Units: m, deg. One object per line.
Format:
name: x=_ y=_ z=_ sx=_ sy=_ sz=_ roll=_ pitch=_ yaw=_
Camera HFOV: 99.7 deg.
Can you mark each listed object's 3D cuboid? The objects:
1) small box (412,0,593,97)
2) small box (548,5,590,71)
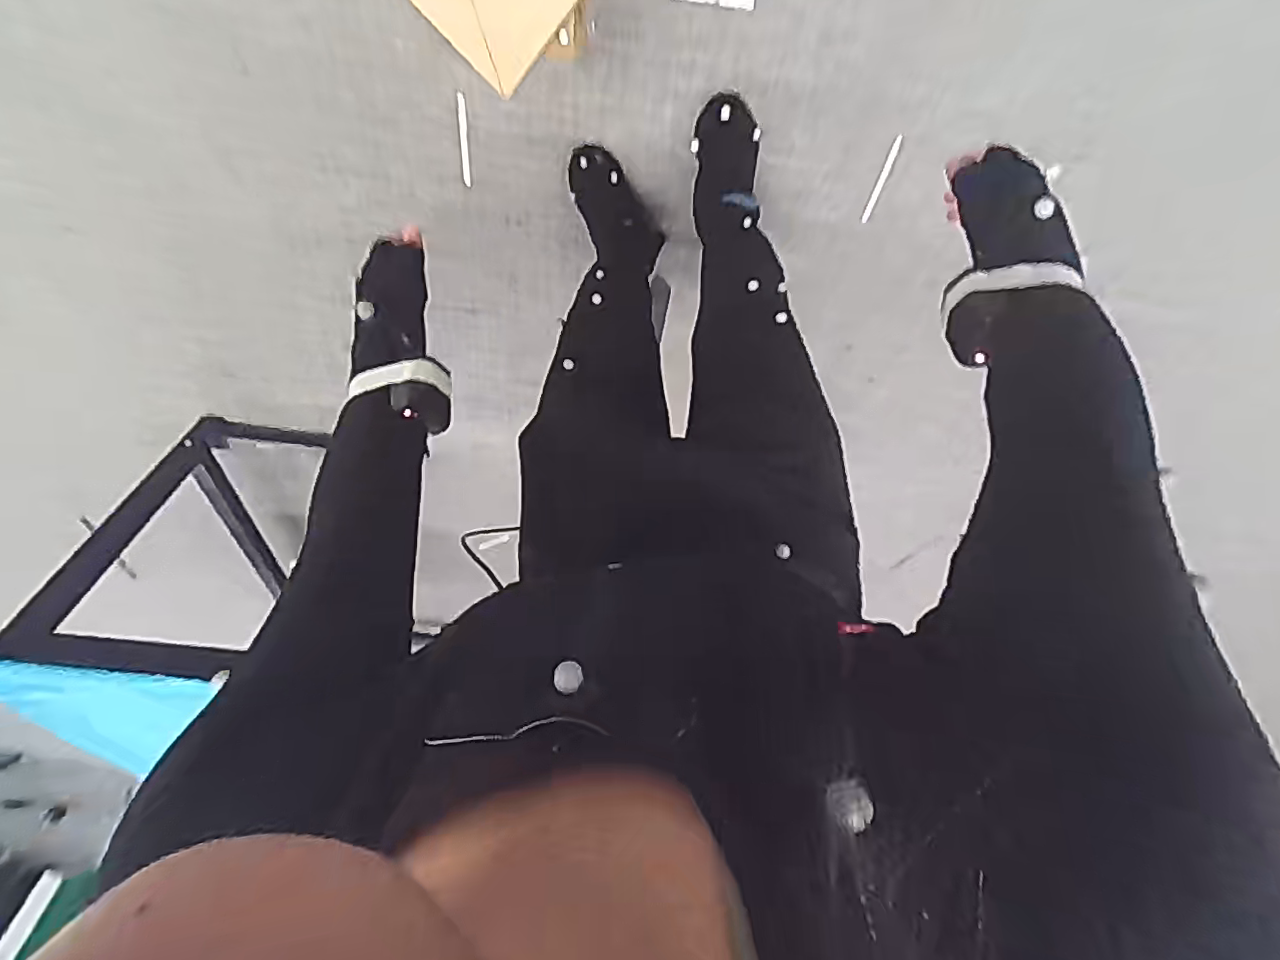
small box: x=-0.168 y=-0.629 z=0.677 sx=0.179 sy=0.176 sz=0.168 roll=36 pitch=126 yaw=-29
small box: x=-0.164 y=-0.741 z=0.803 sx=0.179 sy=0.176 sz=0.168 roll=9 pitch=135 yaw=-5
